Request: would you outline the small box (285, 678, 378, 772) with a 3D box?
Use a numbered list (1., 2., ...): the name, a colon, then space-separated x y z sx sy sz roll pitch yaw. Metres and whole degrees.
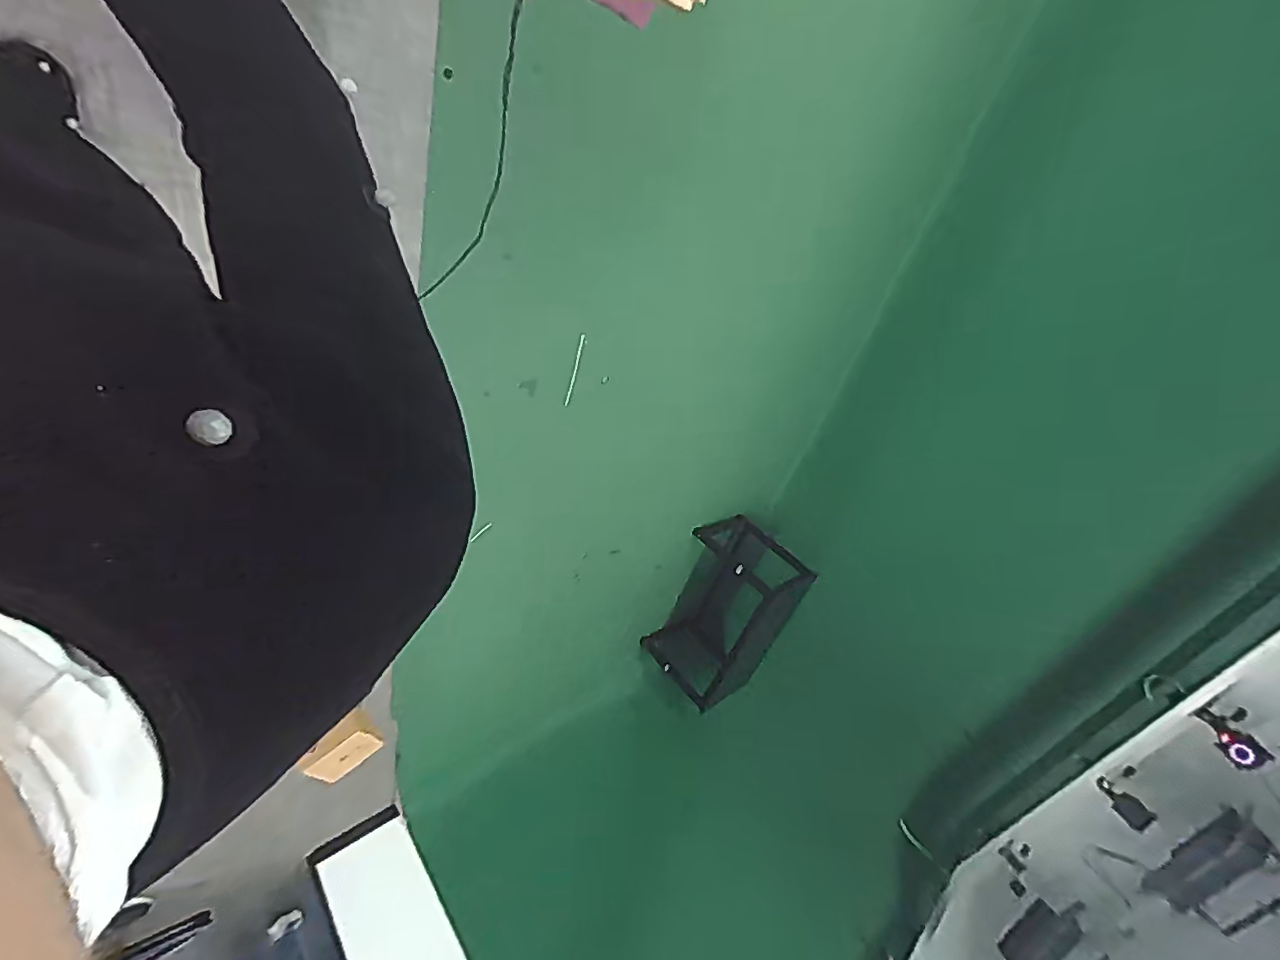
1. small box: -0.949 0.748 1.654 0.179 0.176 0.168 -36 147 -20
